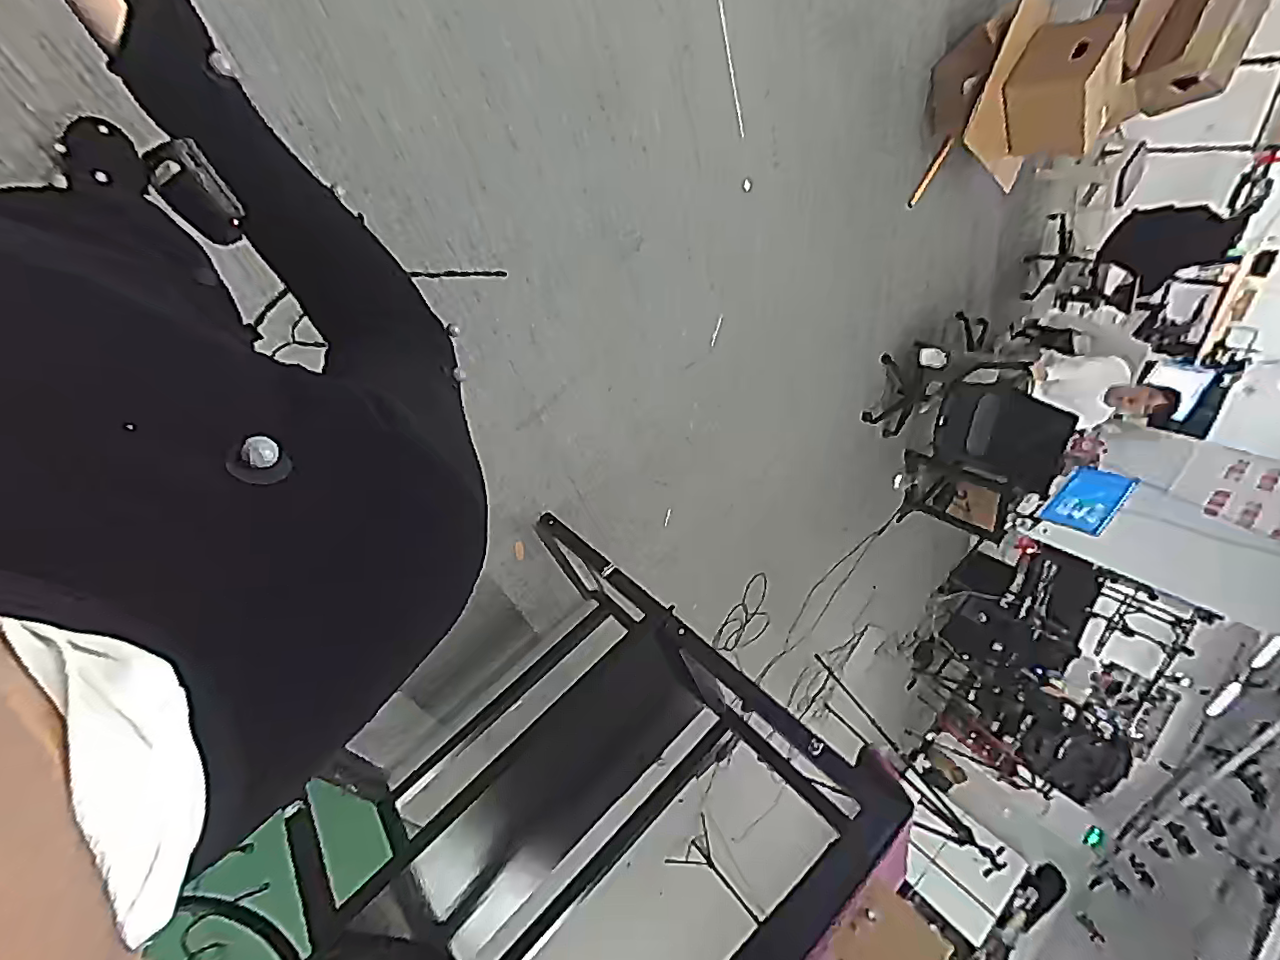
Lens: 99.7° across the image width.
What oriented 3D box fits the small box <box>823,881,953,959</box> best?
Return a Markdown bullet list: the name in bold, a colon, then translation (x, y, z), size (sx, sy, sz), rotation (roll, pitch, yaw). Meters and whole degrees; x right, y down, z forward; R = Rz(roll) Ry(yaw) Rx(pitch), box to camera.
- **small box**: translation (0.483, 0.939, 1.066), size (0.168, 0.176, 0.179), rotation (-42, 135, -18)
